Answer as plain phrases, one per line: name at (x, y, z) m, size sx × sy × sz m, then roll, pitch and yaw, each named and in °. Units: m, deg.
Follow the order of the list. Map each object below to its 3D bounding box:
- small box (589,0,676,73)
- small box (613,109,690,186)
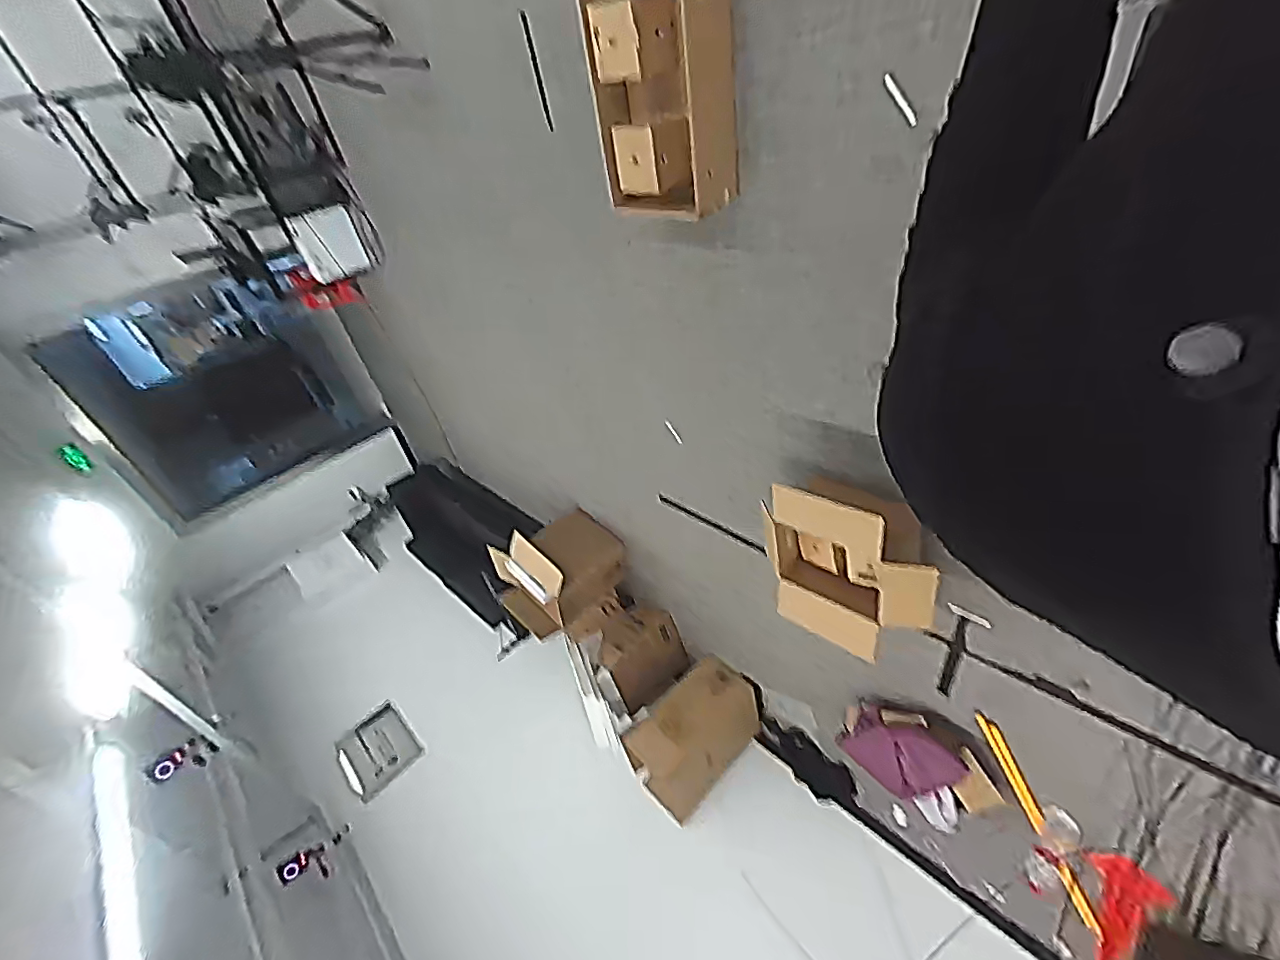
small box at (-0.012, -1.259, 1.509) m, size 0.179 × 0.176 × 0.168 m, roll 28°, pitch 143°, yaw 36°
small box at (0.042, -1.031, 1.680) m, size 0.168 × 0.176 × 0.179 m, roll 25°, pitch 139°, yaw 37°
